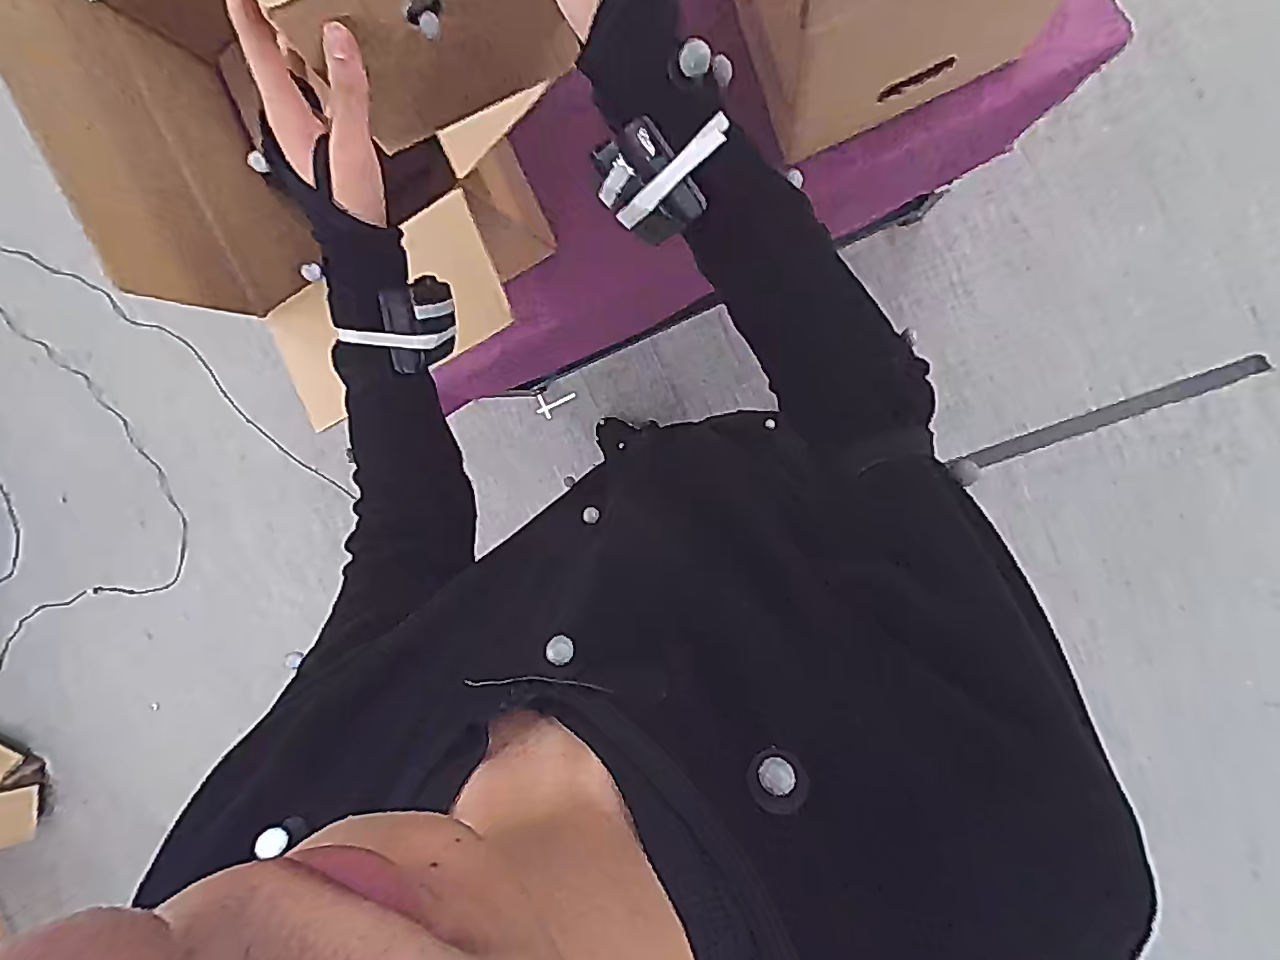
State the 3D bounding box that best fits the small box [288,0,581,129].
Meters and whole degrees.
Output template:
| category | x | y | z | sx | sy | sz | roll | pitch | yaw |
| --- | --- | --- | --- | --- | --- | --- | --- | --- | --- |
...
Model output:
| category | x | y | z | sx | sy | sz | roll | pitch | yaw |
| --- | --- | --- | --- | --- | --- | --- | --- | --- | --- |
| small box | -0.149 | -0.369 | 0.342 | 0.179 | 0.176 | 0.168 | -25 | 100 | 0 |
